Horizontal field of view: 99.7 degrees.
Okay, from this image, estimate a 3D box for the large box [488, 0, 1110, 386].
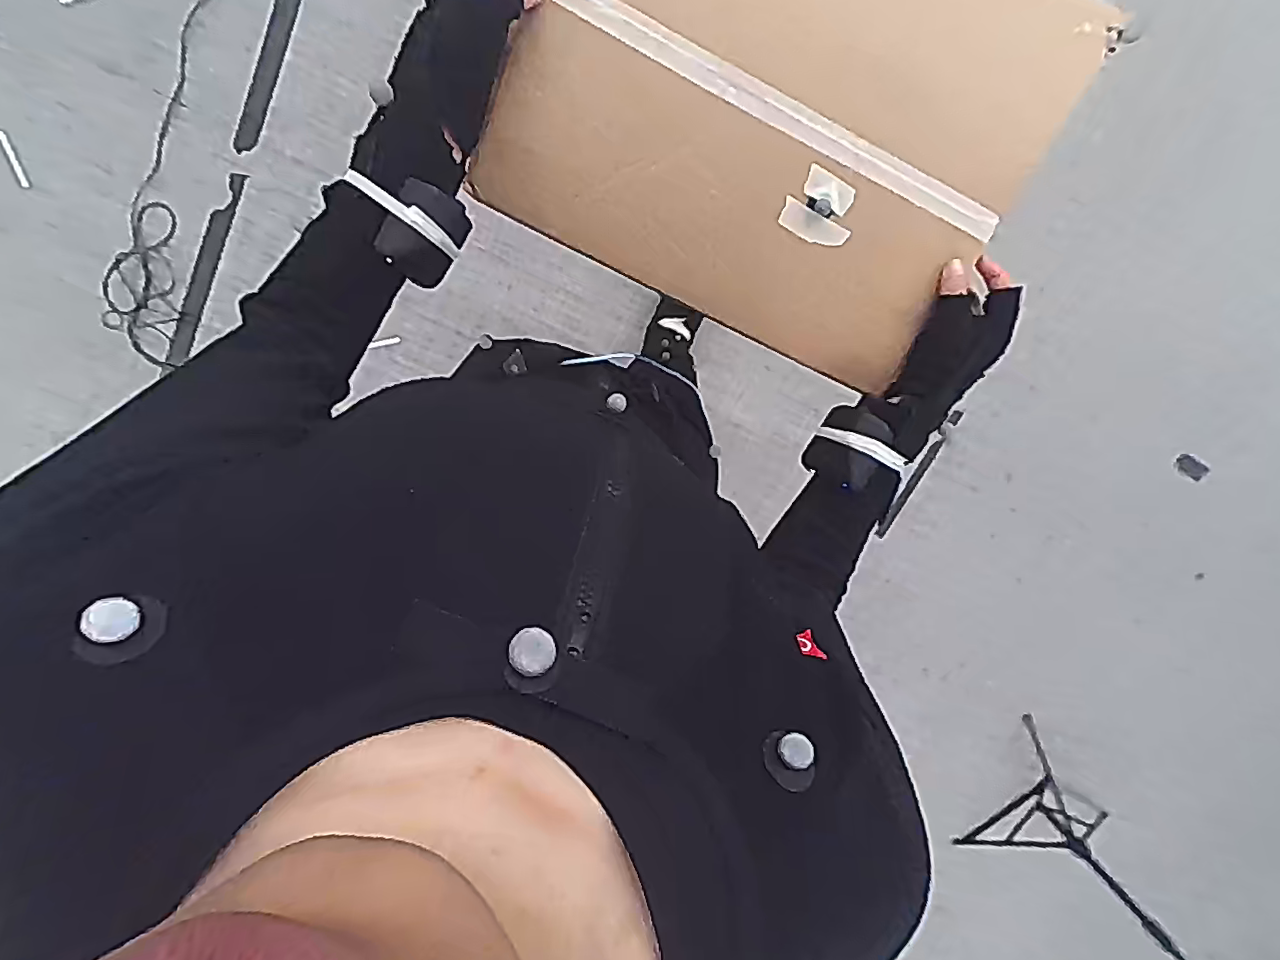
[{"bbox_3d":[0.113,-0.345,0.566,0.408,0.320,0.320,24,111,-9],"label":"large box"}]
